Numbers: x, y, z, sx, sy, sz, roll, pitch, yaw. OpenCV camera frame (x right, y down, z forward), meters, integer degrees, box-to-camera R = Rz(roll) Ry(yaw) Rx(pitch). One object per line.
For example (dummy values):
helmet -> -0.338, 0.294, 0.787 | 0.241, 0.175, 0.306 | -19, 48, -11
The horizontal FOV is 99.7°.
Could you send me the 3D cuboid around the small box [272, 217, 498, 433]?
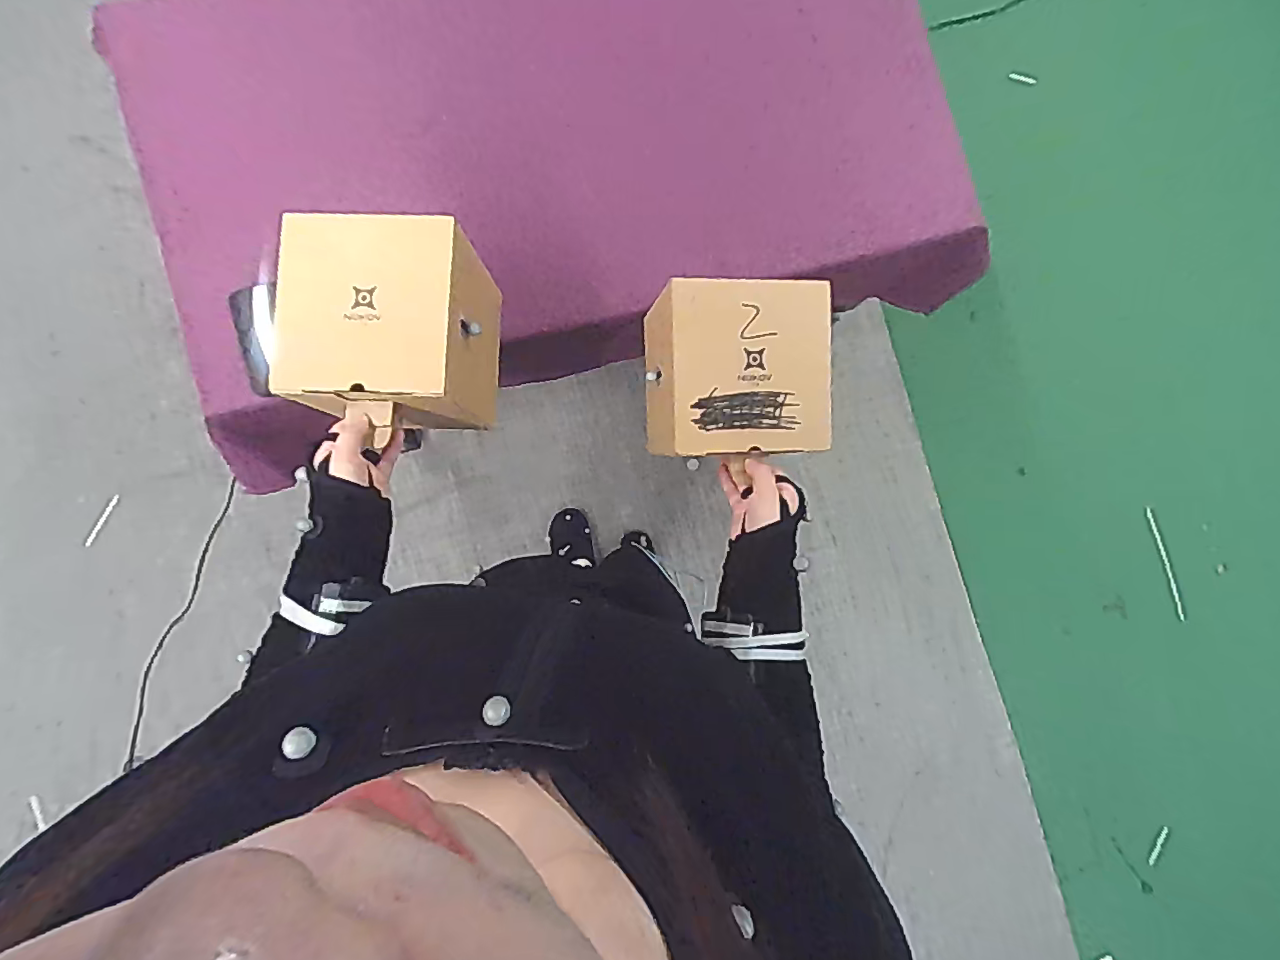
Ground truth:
small box -> -0.256, -0.154, 0.585 | 0.168, 0.176, 0.179 | 1, 86, -1
